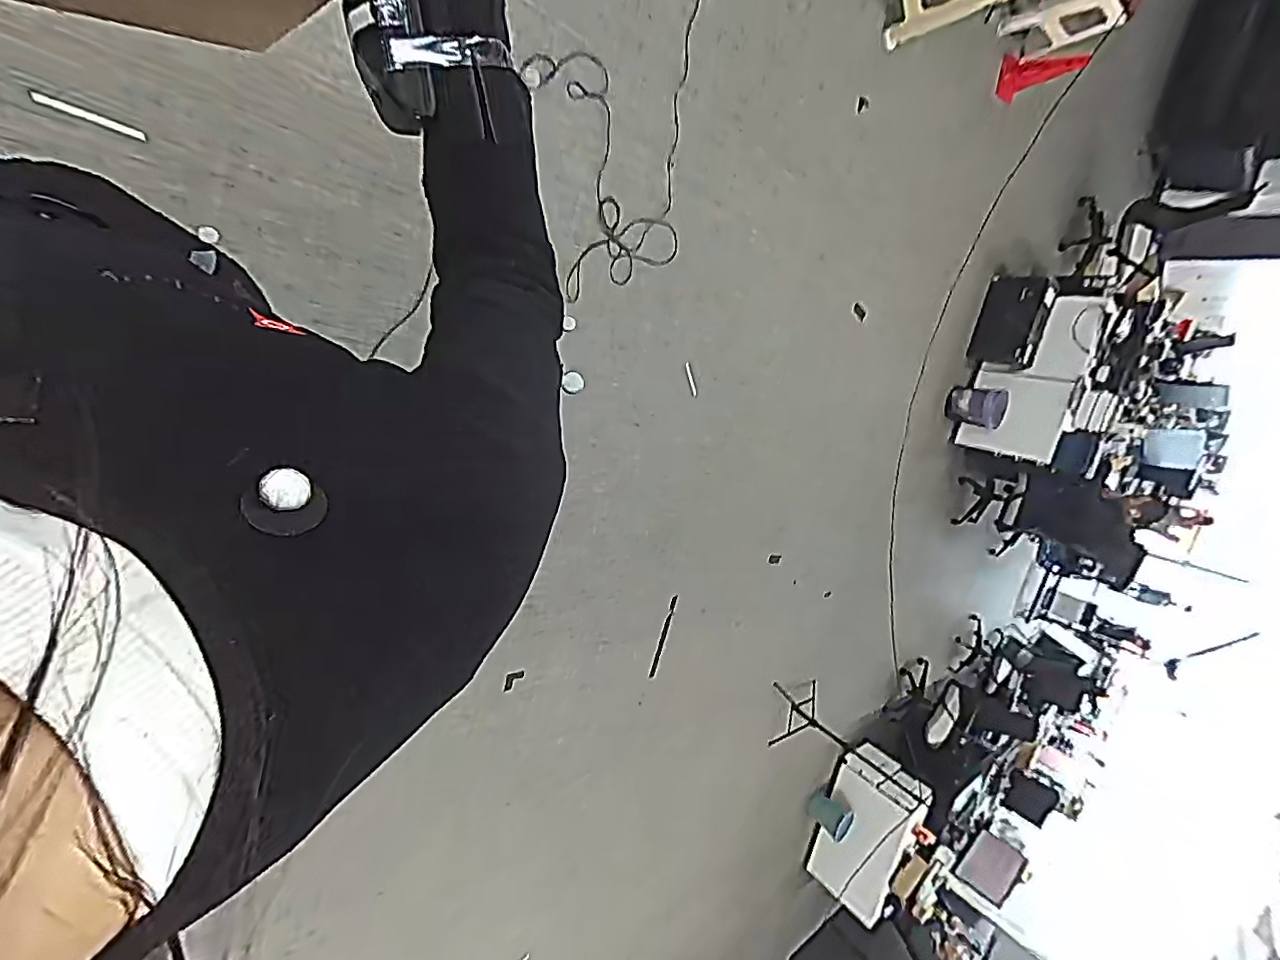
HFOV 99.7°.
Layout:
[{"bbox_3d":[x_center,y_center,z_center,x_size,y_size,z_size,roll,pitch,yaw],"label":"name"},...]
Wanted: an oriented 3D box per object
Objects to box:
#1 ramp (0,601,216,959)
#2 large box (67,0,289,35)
[{"bbox_3d":[-1.248,0.751,1.113,0.509,0.206,0.991,6,102,-41],"label":"ramp"},{"bbox_3d":[-0.391,-0.420,0.199,0.408,0.320,0.320,-17,126,-37],"label":"large box"}]
